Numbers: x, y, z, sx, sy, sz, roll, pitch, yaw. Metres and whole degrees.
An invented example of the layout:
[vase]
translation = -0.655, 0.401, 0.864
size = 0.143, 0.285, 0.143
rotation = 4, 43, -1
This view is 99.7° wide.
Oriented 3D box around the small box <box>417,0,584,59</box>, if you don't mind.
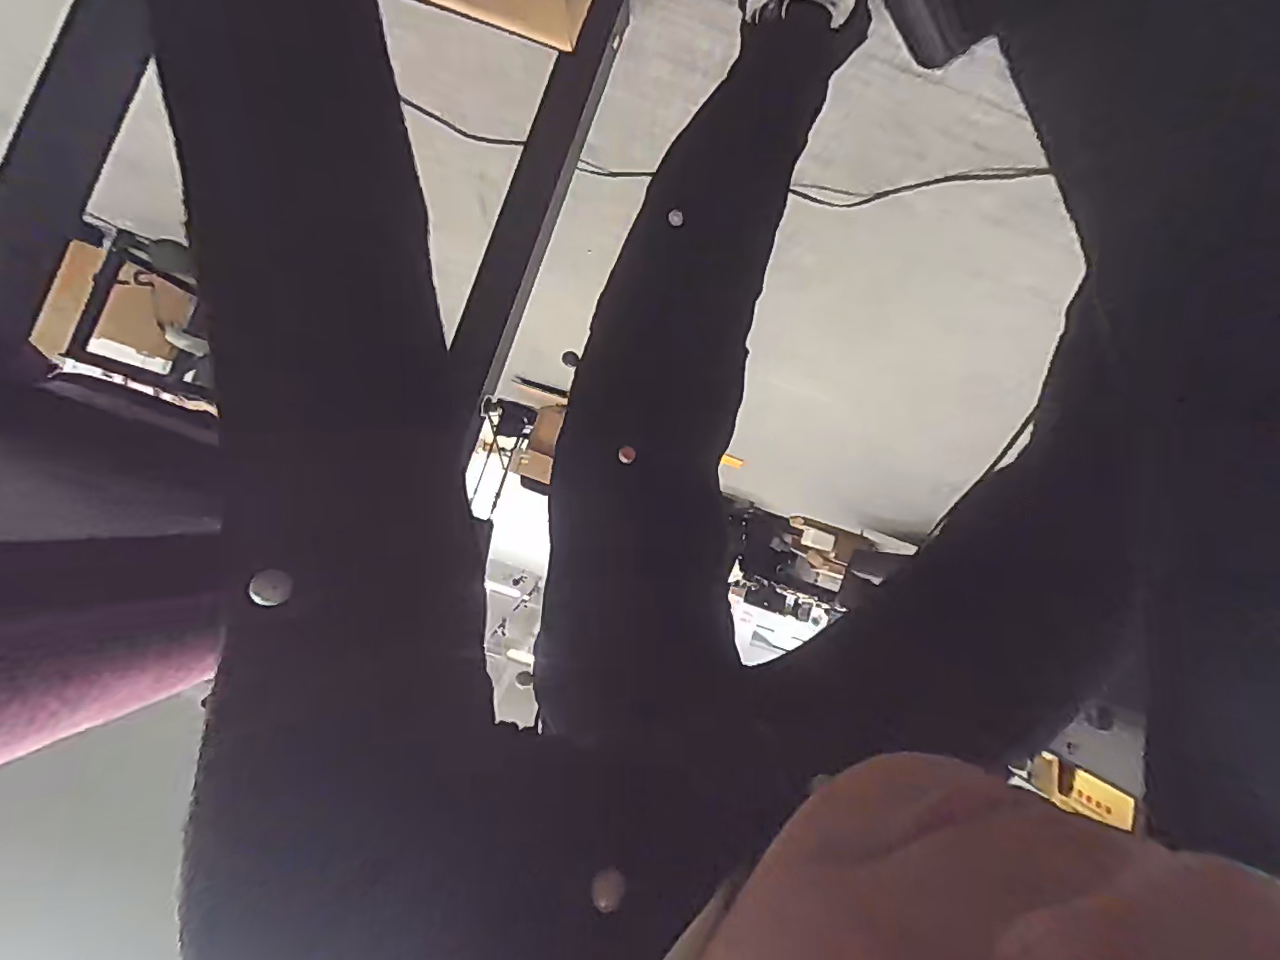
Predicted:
[small box]
translation = -0.118, -0.536, 0.469
size = 0.168, 0.176, 0.179
rotation = 19, 175, -1
